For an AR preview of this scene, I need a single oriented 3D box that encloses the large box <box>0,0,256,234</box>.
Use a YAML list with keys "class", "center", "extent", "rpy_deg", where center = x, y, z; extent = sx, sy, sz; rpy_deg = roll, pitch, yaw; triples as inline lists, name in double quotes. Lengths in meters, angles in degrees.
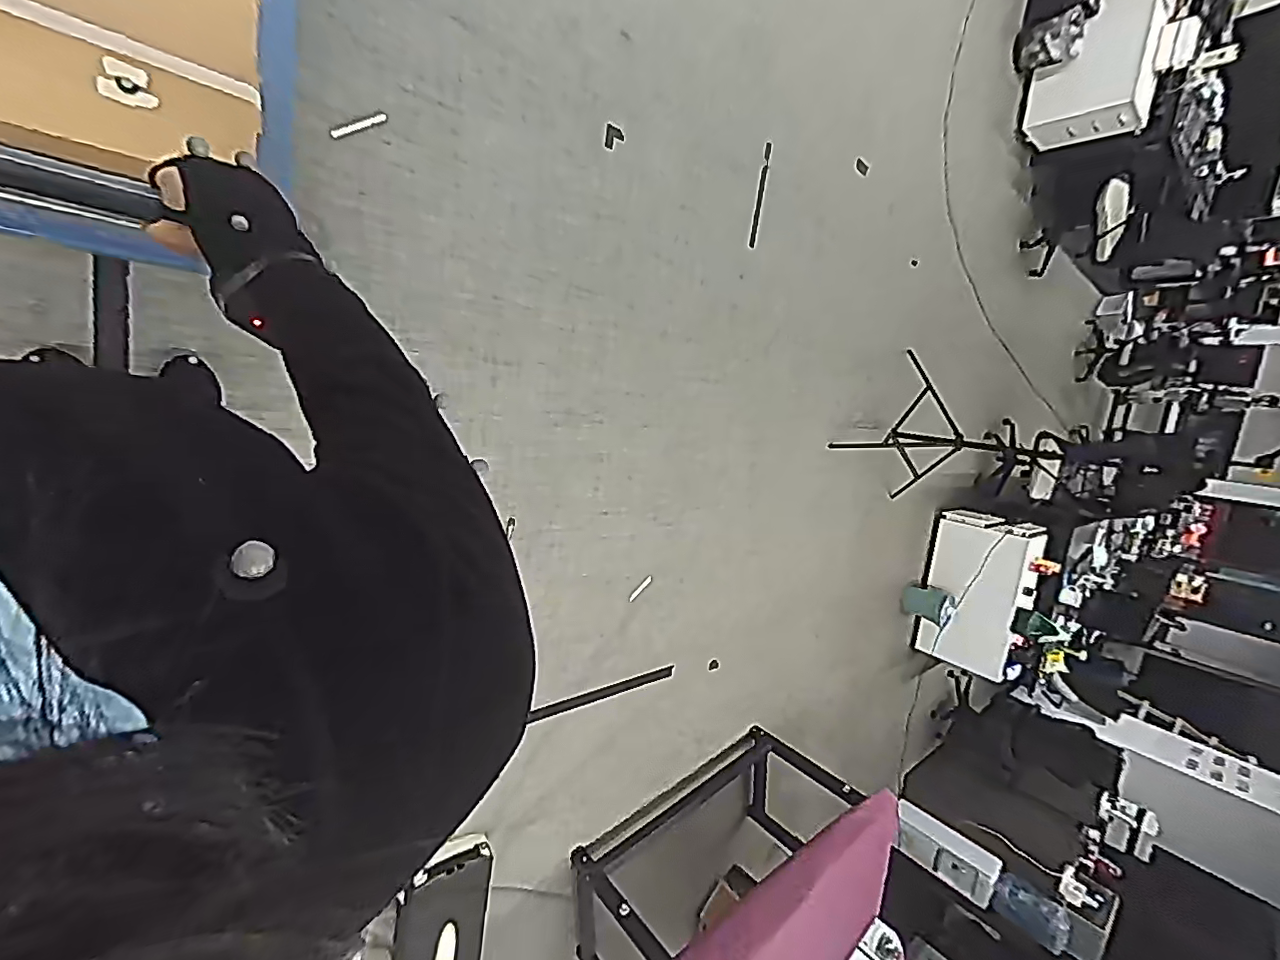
- class: "large box"
  center: [-0.811, -0.584, 0.767]
  extent: [0.408, 0.320, 0.320]
  rpy_deg: [0, 102, -42]
